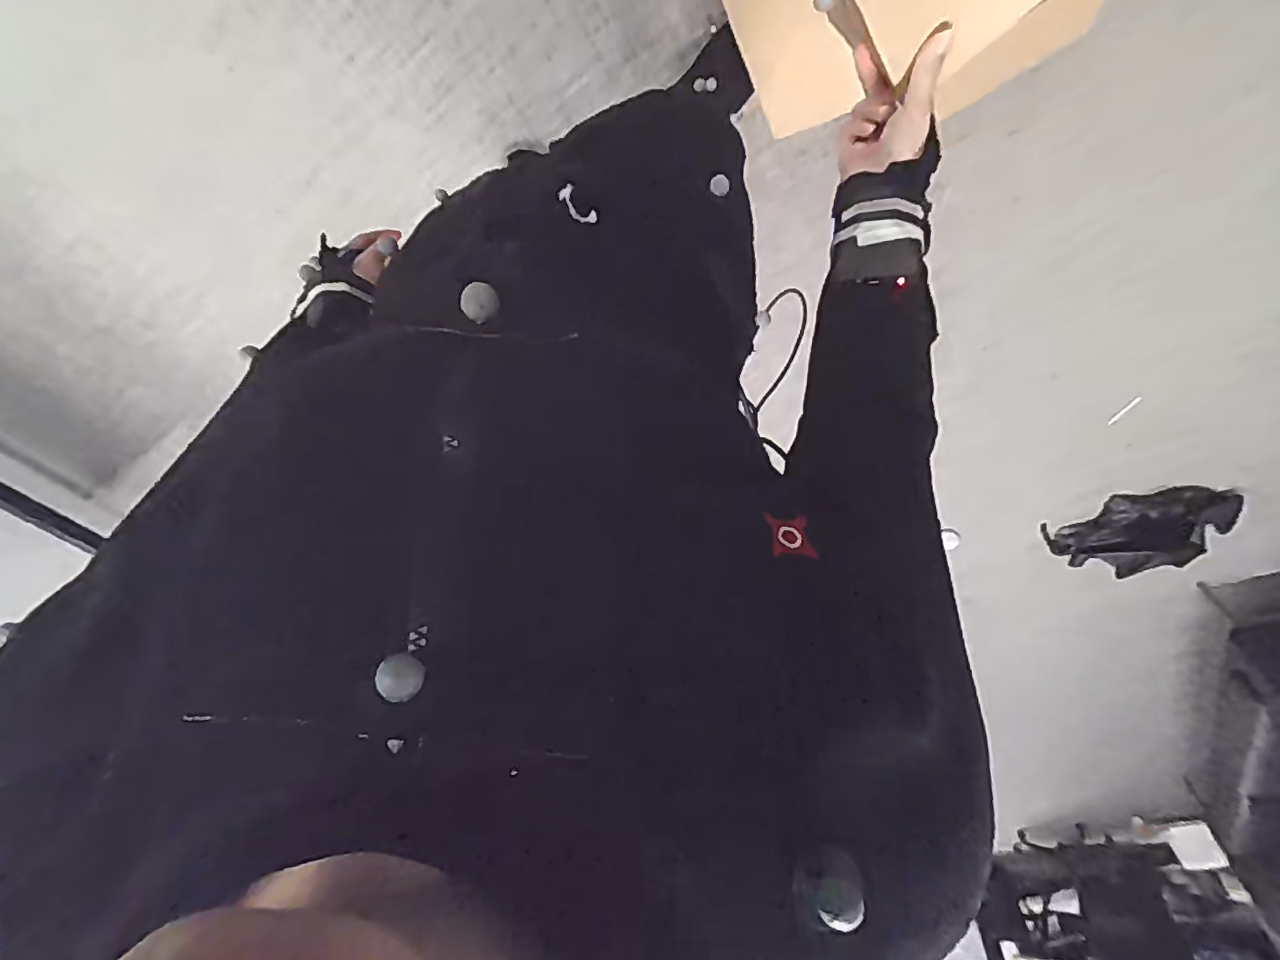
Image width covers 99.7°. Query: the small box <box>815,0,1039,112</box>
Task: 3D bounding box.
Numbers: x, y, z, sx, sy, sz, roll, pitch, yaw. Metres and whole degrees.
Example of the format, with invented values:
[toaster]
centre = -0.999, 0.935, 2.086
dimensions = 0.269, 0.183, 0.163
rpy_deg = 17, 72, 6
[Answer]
[small box]
centre = 0.195, -0.419, 0.371
dimensions = 0.168, 0.176, 0.179
rpy_deg = -32, 143, 31
